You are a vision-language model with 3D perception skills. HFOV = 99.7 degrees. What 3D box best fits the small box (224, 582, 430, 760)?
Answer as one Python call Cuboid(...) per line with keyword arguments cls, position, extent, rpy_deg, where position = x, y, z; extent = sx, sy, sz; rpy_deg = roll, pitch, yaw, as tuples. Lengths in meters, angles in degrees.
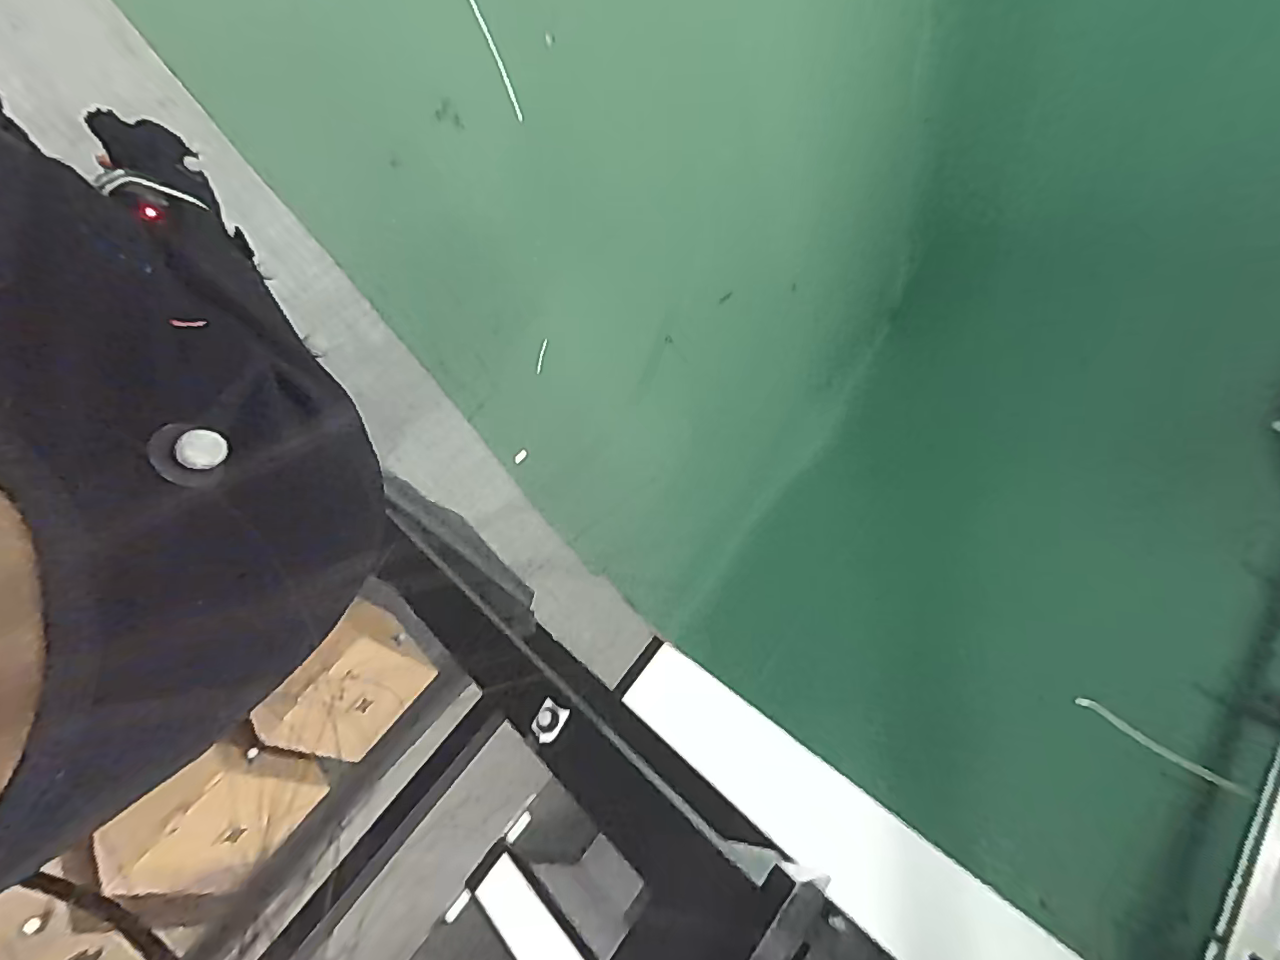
Cuboid(cls="small box", position=(-0.463, 0.281, 0.809), extent=(0.168, 0.176, 0.179), rpy_deg=(-50, 144, -16))
